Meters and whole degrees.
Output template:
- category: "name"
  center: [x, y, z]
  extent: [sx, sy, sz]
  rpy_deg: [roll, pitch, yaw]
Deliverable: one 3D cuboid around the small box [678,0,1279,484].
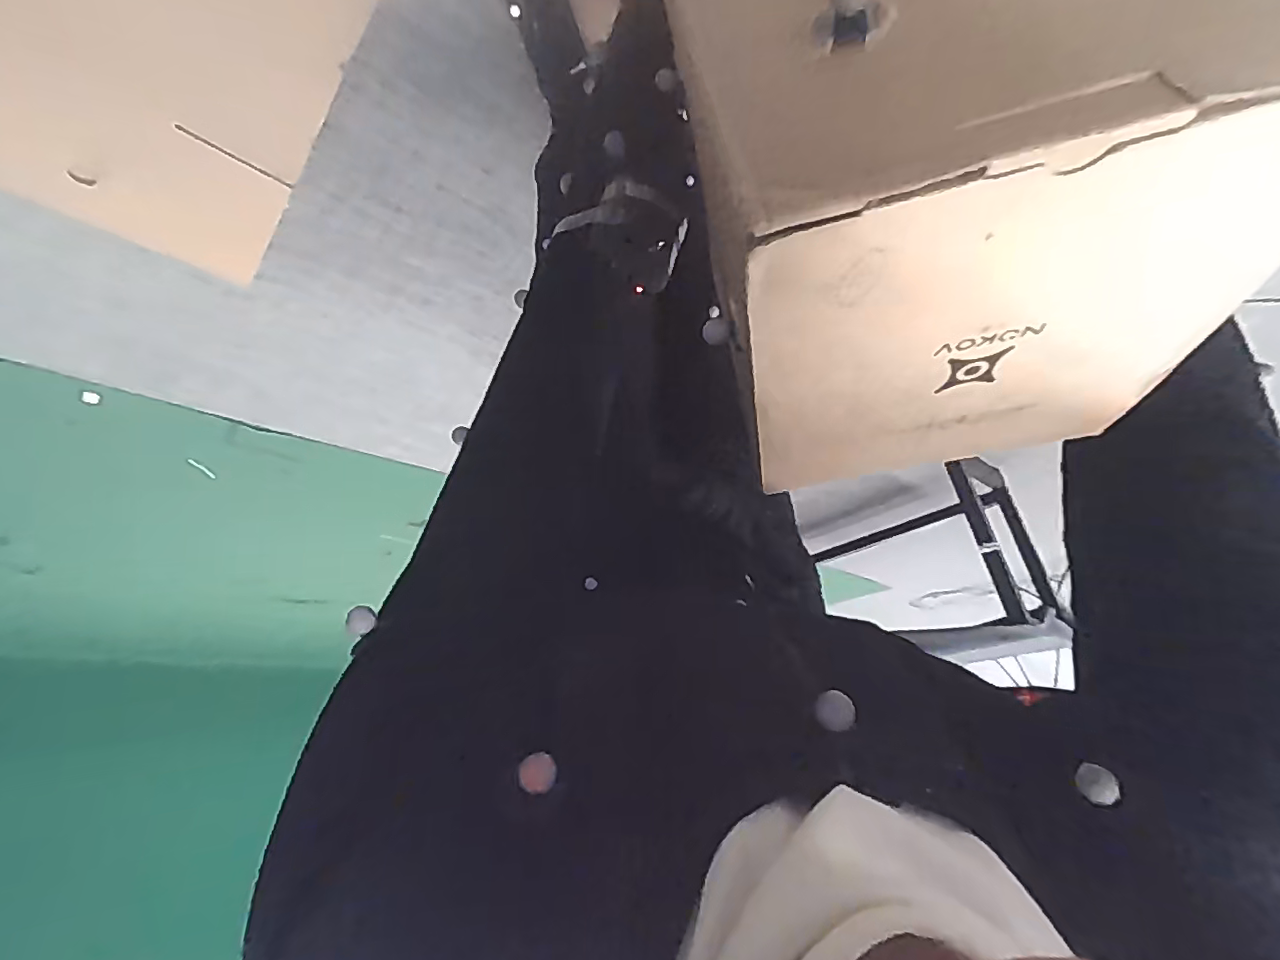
- category: "small box"
  center: [0.118, -0.121, 0.239]
  extent: [0.168, 0.176, 0.179]
  rpy_deg: [-11, 154, 11]
